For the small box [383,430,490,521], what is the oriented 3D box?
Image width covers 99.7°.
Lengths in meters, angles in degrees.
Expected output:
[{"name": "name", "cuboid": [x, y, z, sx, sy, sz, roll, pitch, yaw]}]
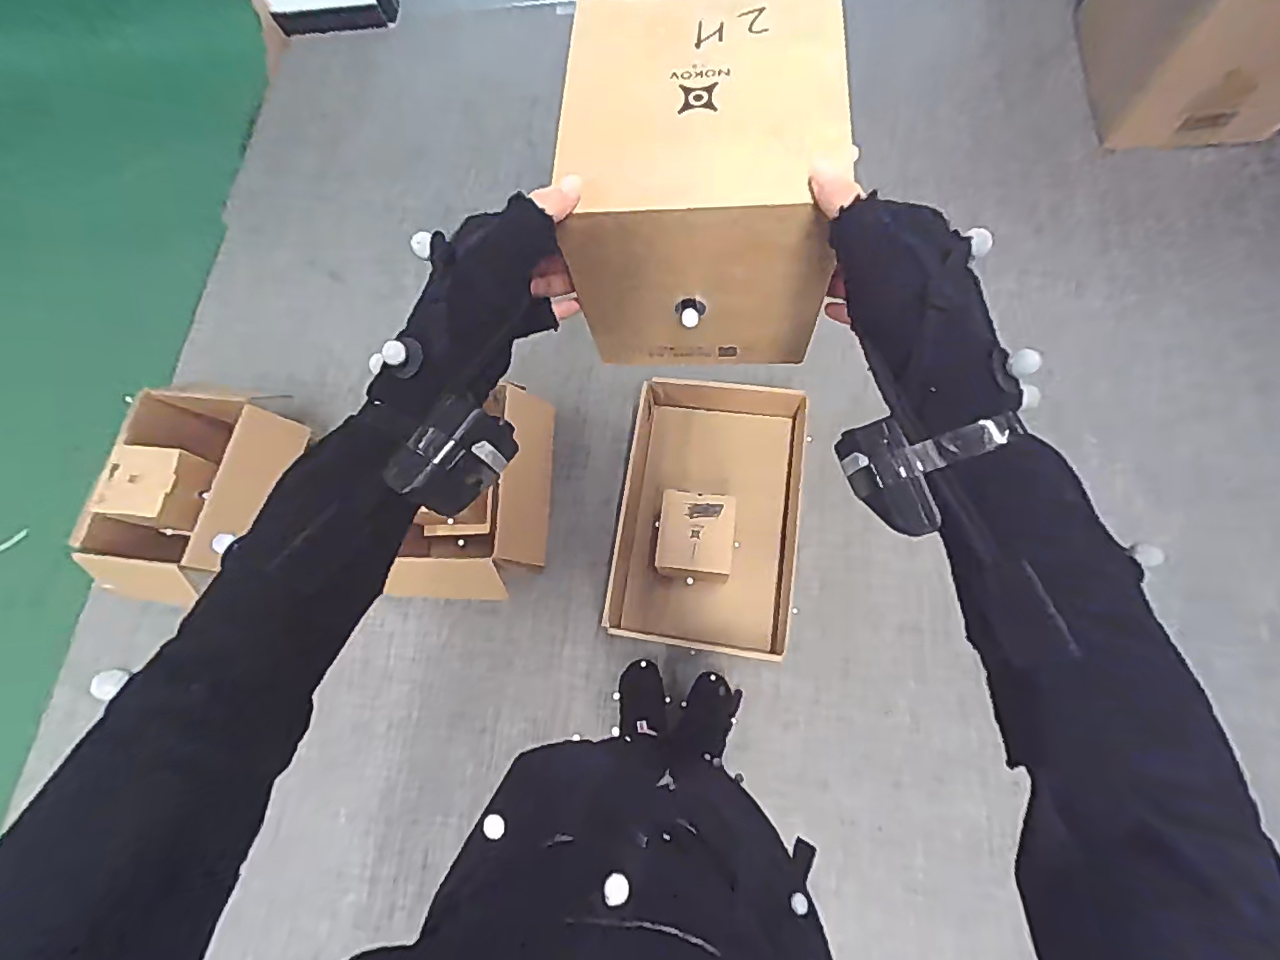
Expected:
[{"name": "small box", "cuboid": [-0.452, -0.002, 1.226, 0.168, 0.176, 0.179, -1, 75, 6]}]

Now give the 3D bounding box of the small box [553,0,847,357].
[{"name": "small box", "cuboid": [0.046, -0.203, 0.395, 0.168, 0.176, 0.179, 2, 72, 7]}]

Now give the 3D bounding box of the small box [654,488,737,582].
[{"name": "small box", "cuboid": [0.129, 0.131, 1.252, 0.168, 0.176, 0.179, 6, 73, 8]}]
